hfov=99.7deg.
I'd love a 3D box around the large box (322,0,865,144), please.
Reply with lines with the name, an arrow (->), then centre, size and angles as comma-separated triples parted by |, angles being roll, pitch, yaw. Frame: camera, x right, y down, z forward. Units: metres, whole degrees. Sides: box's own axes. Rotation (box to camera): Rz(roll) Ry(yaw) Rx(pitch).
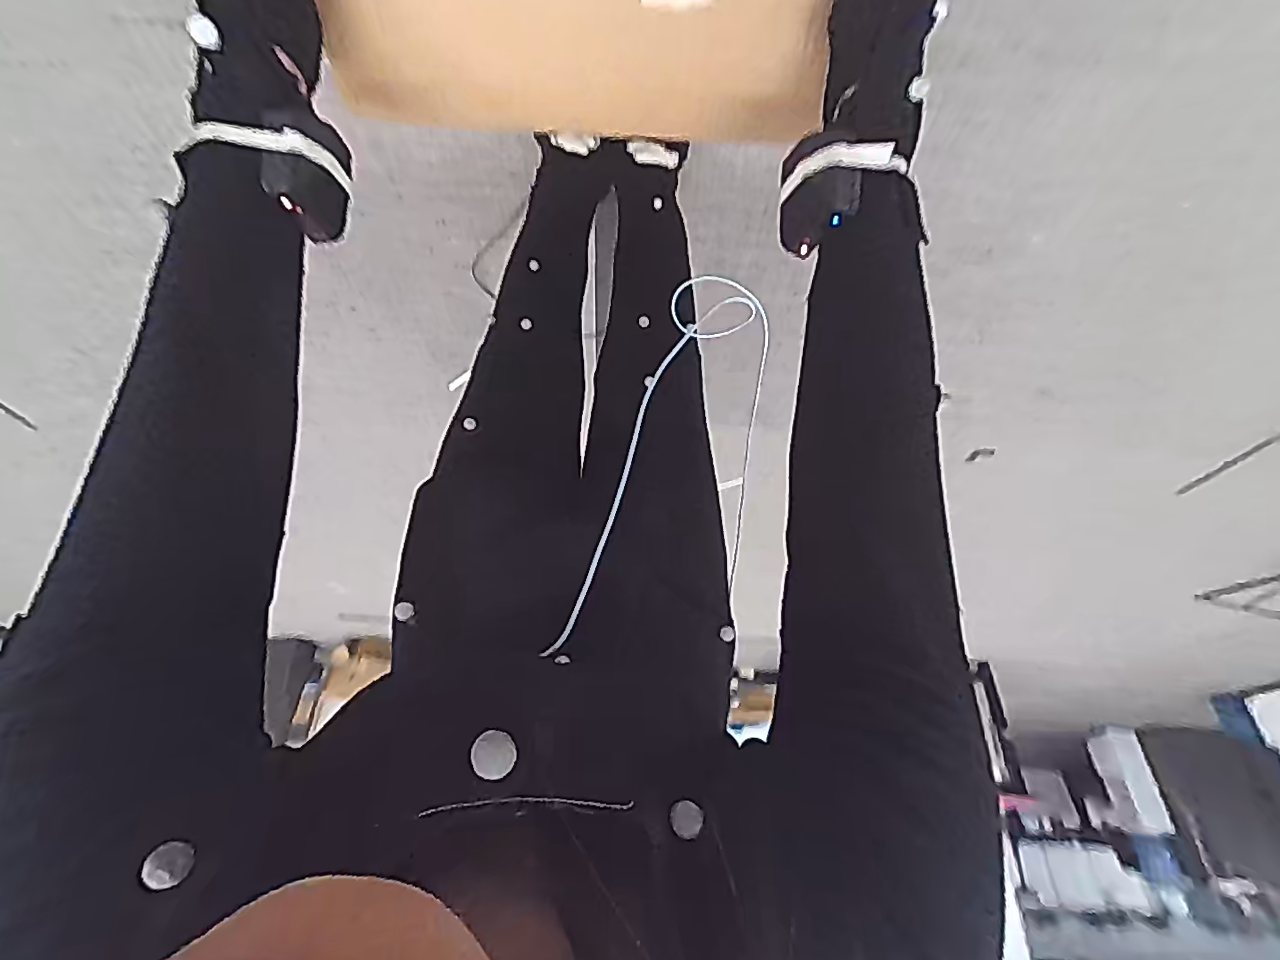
large box -> -0.031, -0.505, 0.434 | 0.408, 0.320, 0.320 | 2, 143, -1
